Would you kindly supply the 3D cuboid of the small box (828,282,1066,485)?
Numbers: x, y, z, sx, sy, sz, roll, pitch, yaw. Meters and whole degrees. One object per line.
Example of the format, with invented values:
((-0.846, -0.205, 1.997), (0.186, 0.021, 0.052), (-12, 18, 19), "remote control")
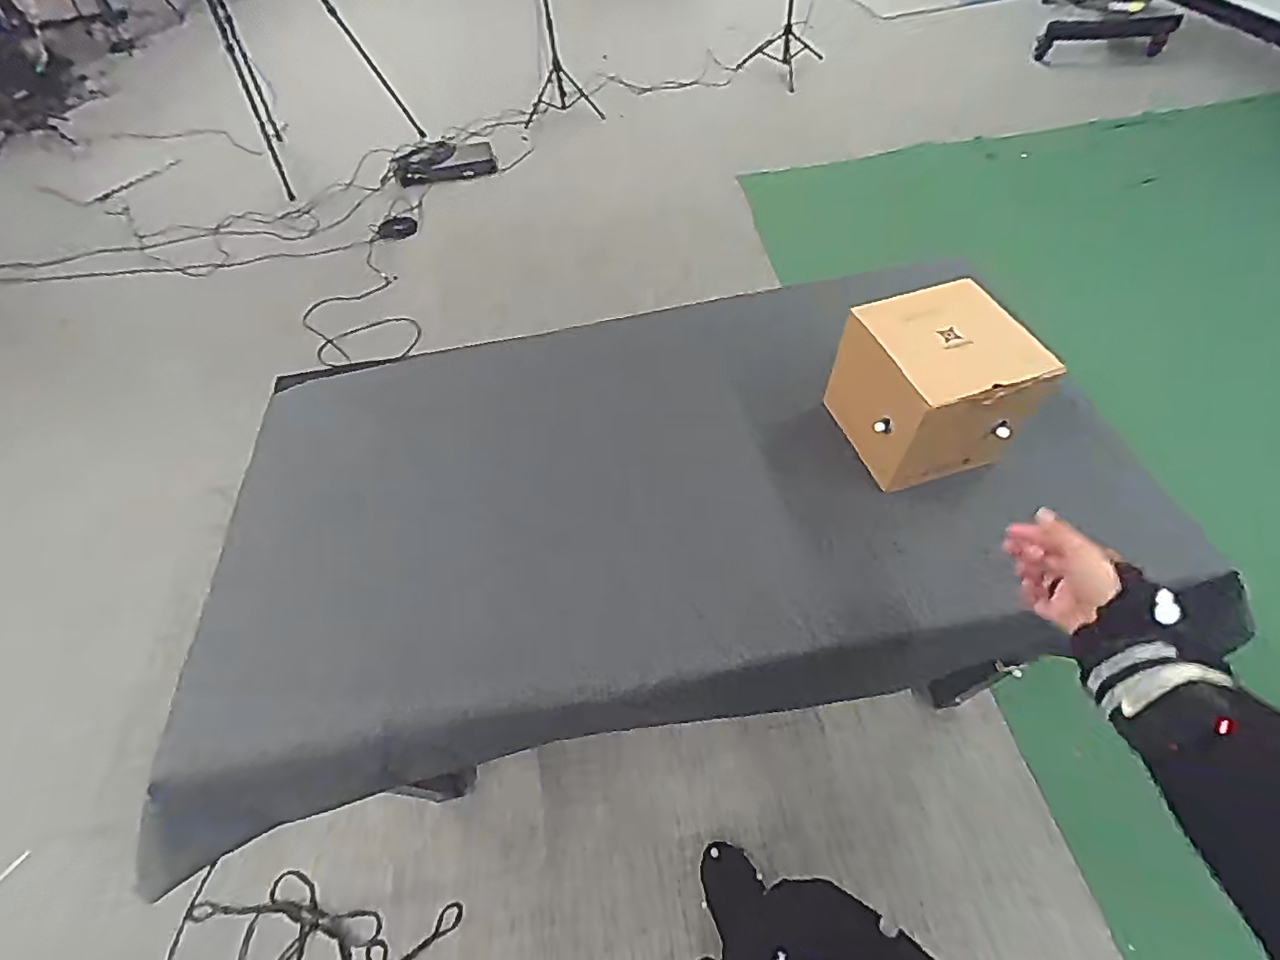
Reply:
((0.363, -0.113, 0.681), (0.168, 0.176, 0.179), (-15, 54, -6), "small box")
